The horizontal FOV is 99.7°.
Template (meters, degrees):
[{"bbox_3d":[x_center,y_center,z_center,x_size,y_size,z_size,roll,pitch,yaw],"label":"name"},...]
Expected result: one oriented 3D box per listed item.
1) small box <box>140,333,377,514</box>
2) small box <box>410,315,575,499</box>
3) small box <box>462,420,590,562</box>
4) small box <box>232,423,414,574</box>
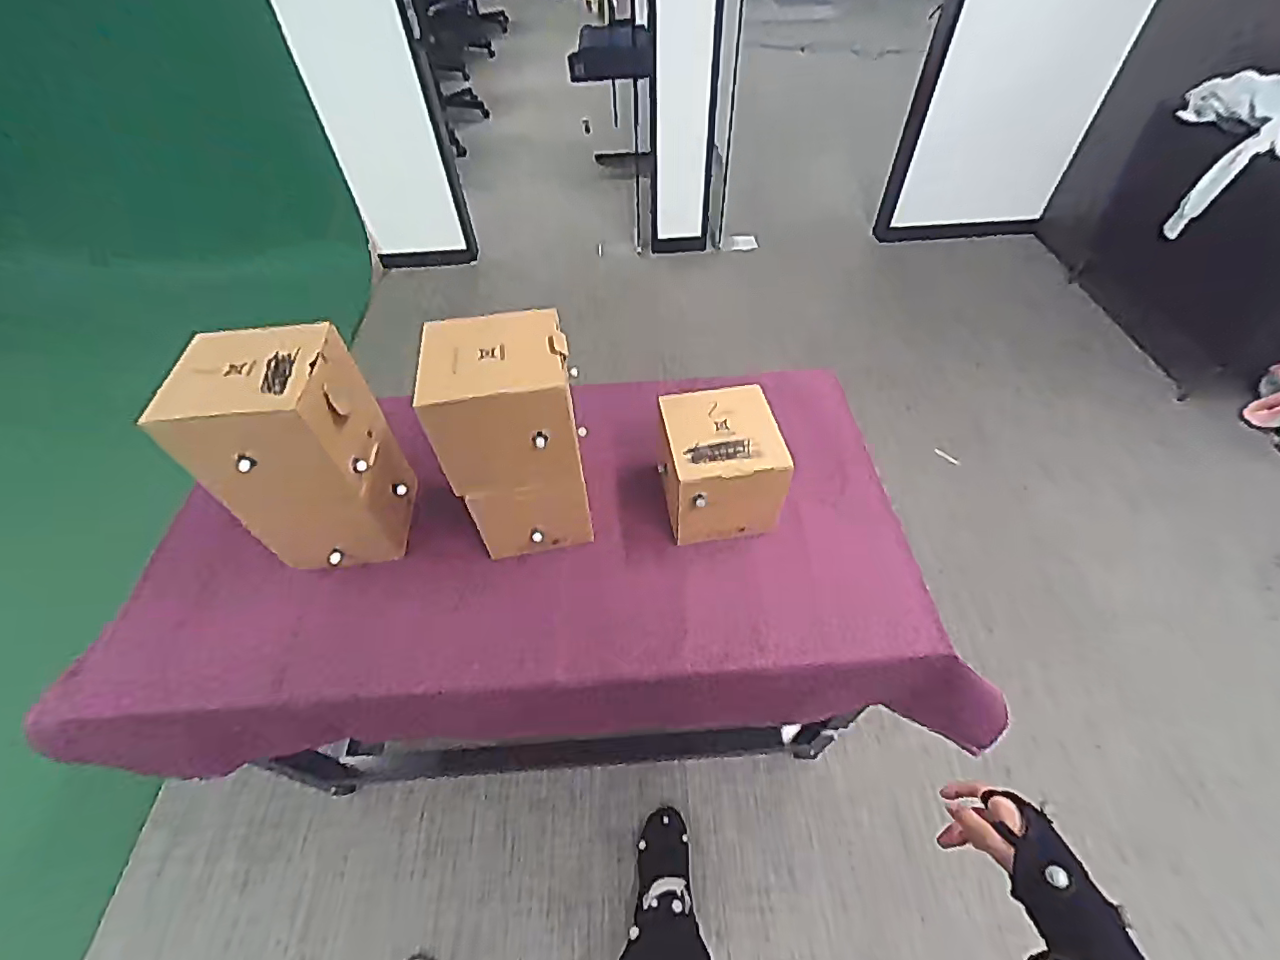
[{"bbox_3d":[-0.479,-0.071,0.718,0.179,0.176,0.168,-6,52,-2],"label":"small box"},{"bbox_3d":[-0.184,-0.095,0.729,0.179,0.176,0.168,-9,51,-4],"label":"small box"},{"bbox_3d":[-0.177,0.004,0.859,0.168,0.176,0.179,-10,52,-5],"label":"small box"},{"bbox_3d":[-0.475,0.032,0.847,0.179,0.176,0.168,-5,51,-3],"label":"small box"}]
